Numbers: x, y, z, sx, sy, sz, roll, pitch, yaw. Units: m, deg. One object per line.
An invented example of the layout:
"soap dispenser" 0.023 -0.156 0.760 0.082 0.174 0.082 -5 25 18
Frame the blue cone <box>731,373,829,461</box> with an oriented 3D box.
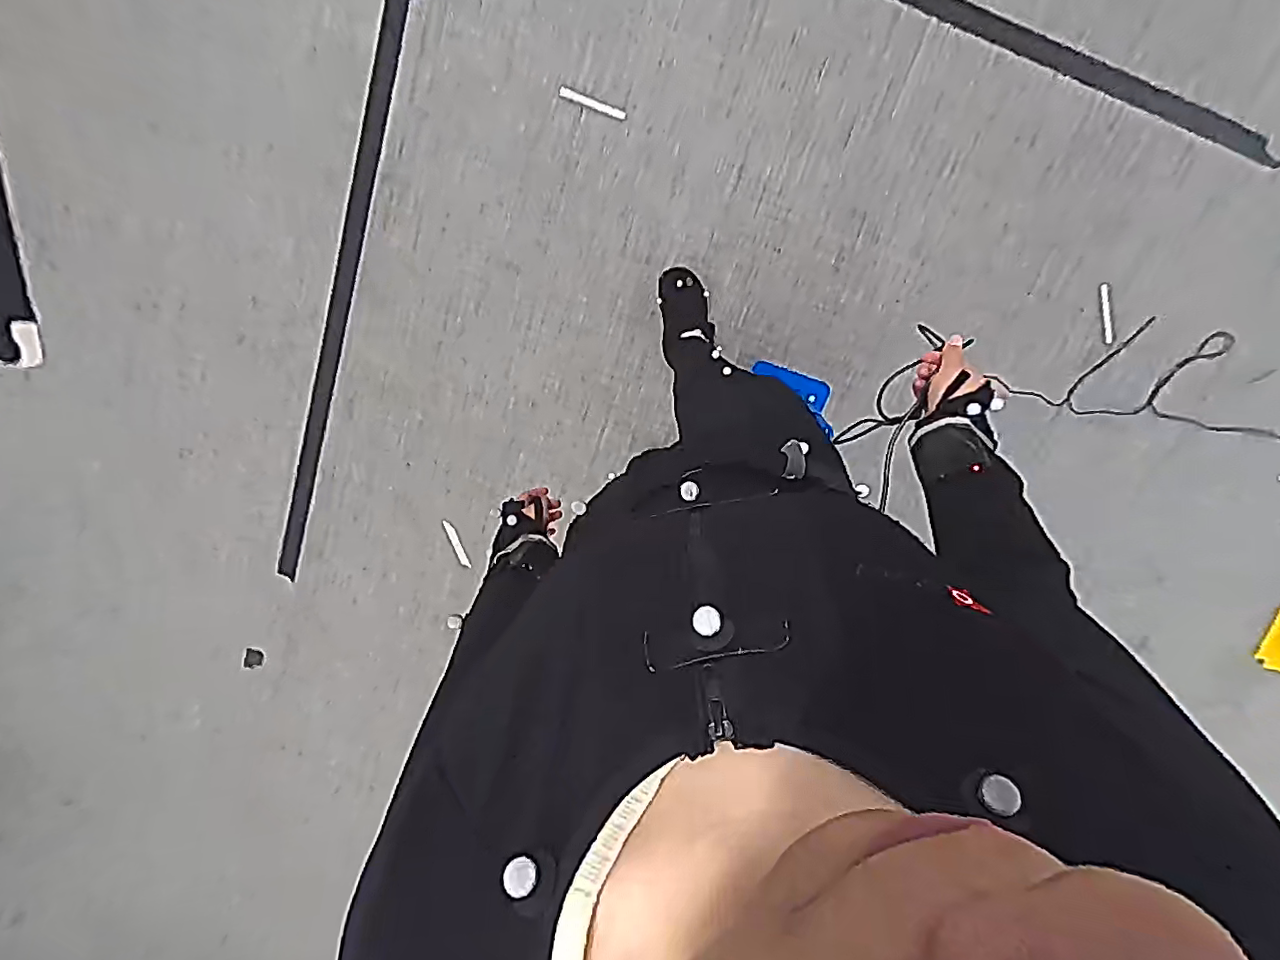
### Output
"blue cone" 0.330 -0.111 1.151 0.193 0.380 0.192 20 104 -3
